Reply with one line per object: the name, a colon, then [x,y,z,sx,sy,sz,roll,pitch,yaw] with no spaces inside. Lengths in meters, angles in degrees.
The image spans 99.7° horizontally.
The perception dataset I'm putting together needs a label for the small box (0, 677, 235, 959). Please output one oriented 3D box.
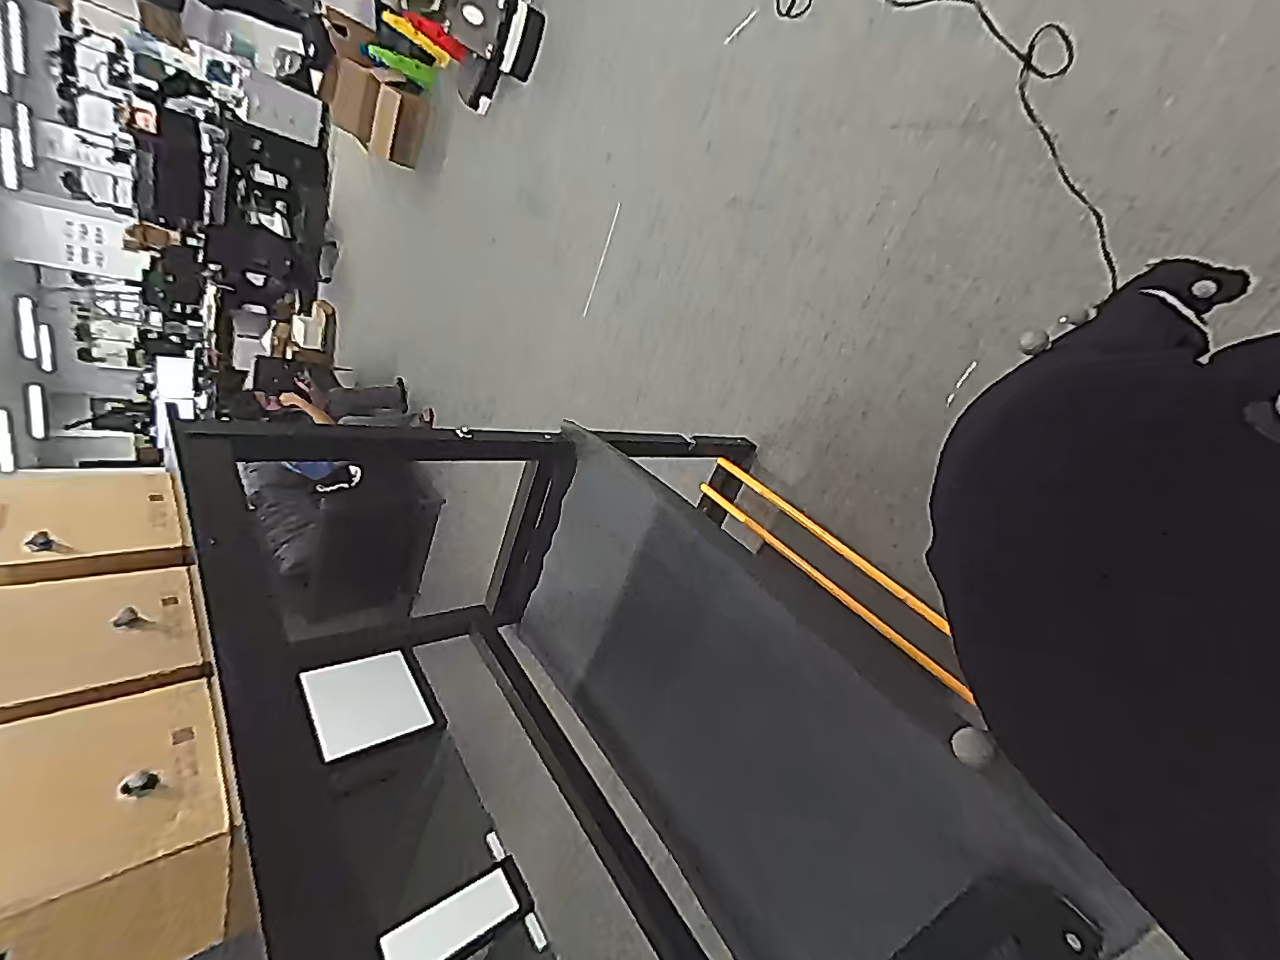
small box: [-0.458,0.303,0.459,0.168,0.176,0.179,41,119,38]
